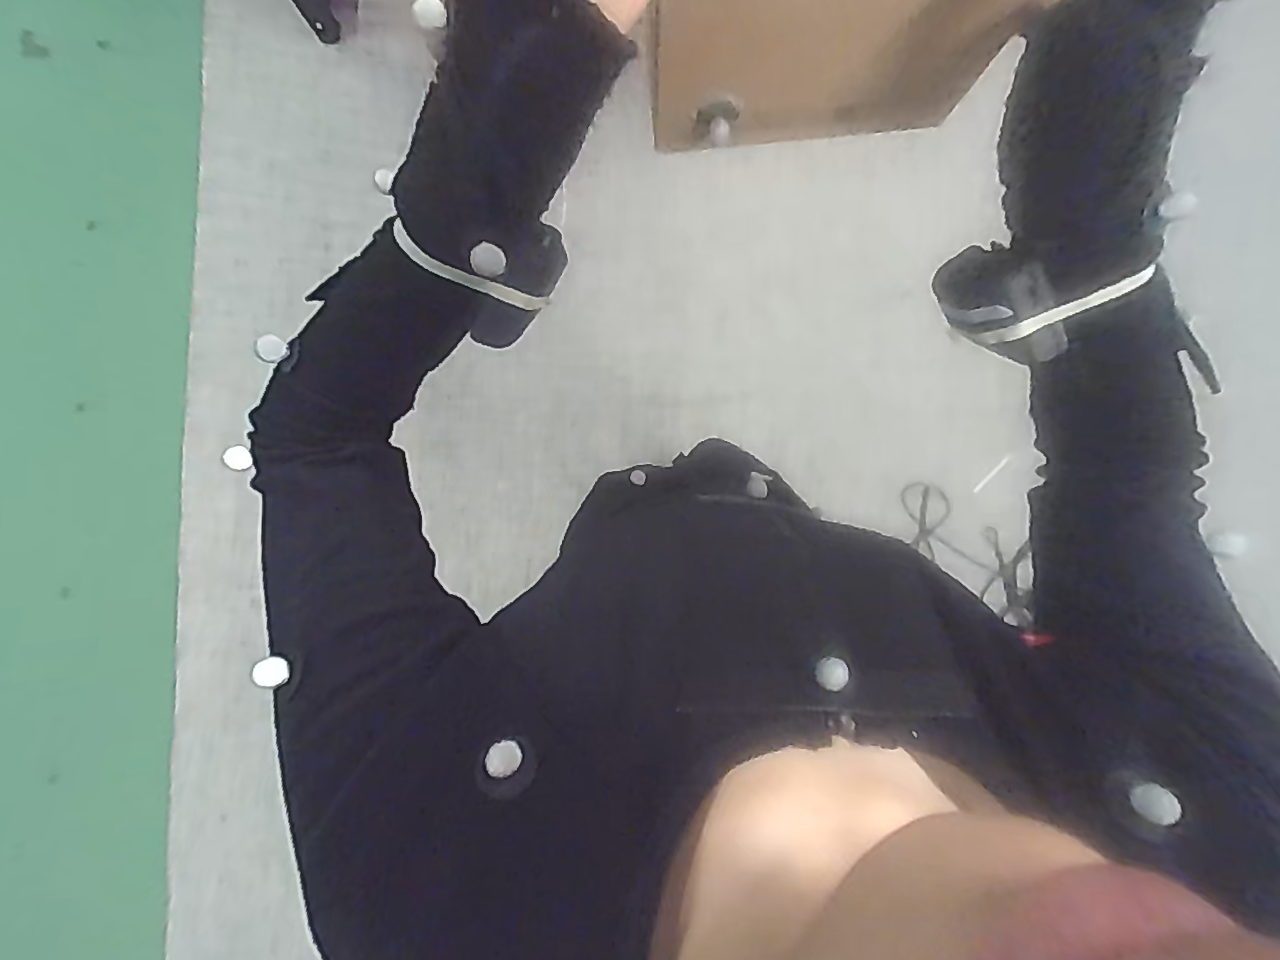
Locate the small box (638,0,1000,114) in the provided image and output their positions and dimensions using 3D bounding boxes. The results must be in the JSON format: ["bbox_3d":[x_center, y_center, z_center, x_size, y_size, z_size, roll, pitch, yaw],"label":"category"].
[{"bbox_3d":[0.079,-0.289,0.227,0.168,0.176,0.179,-5,88,1],"label":"small box"}]
